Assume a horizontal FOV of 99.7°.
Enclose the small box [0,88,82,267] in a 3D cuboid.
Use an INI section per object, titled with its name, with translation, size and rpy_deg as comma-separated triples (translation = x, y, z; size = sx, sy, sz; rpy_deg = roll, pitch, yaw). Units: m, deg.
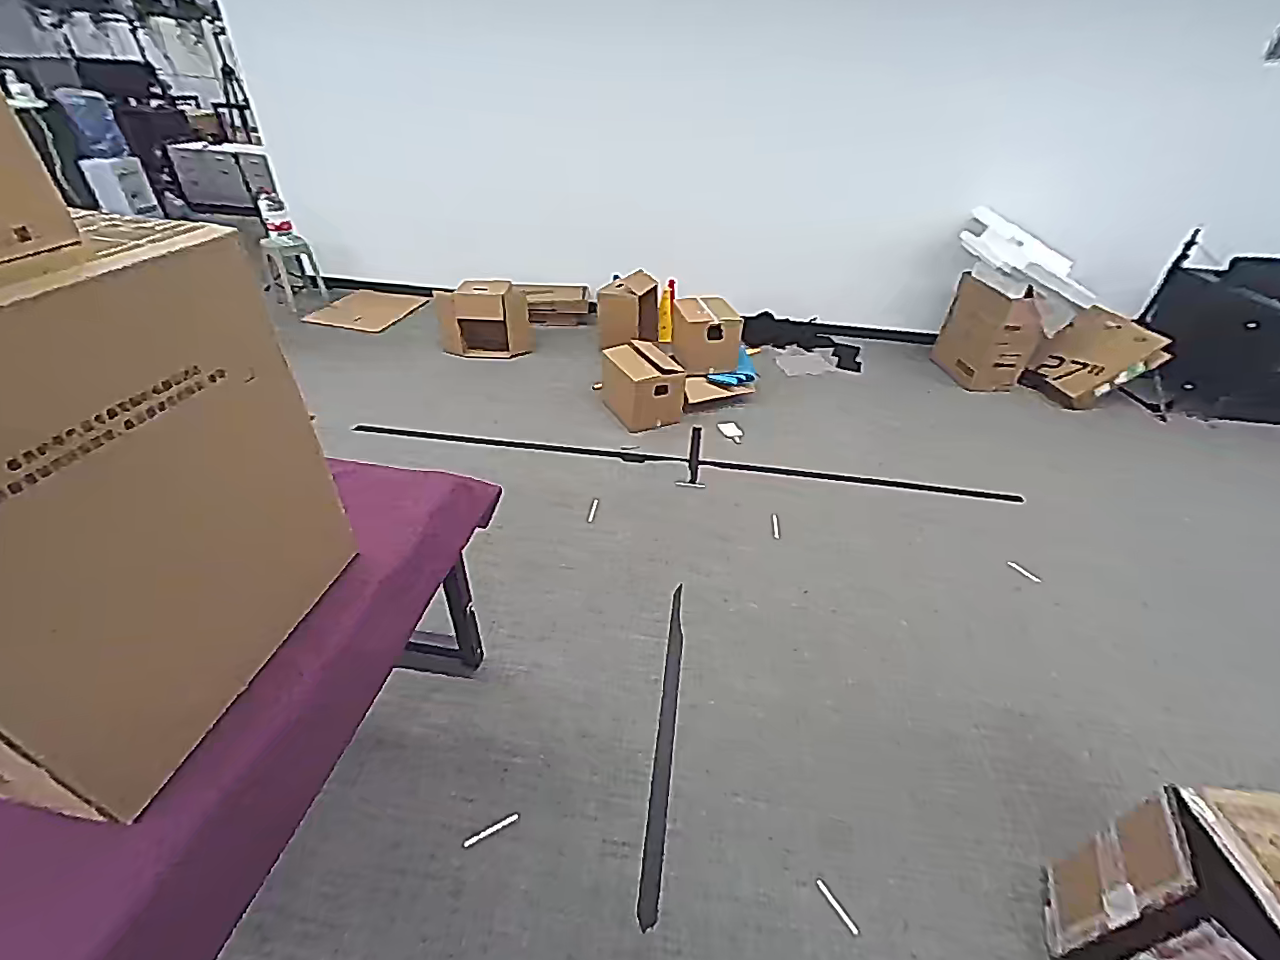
[small box]
translation = -0.767, -0.313, 0.557
size = 0.179, 0.176, 0.168
rpy_deg = 7, 38, 7
